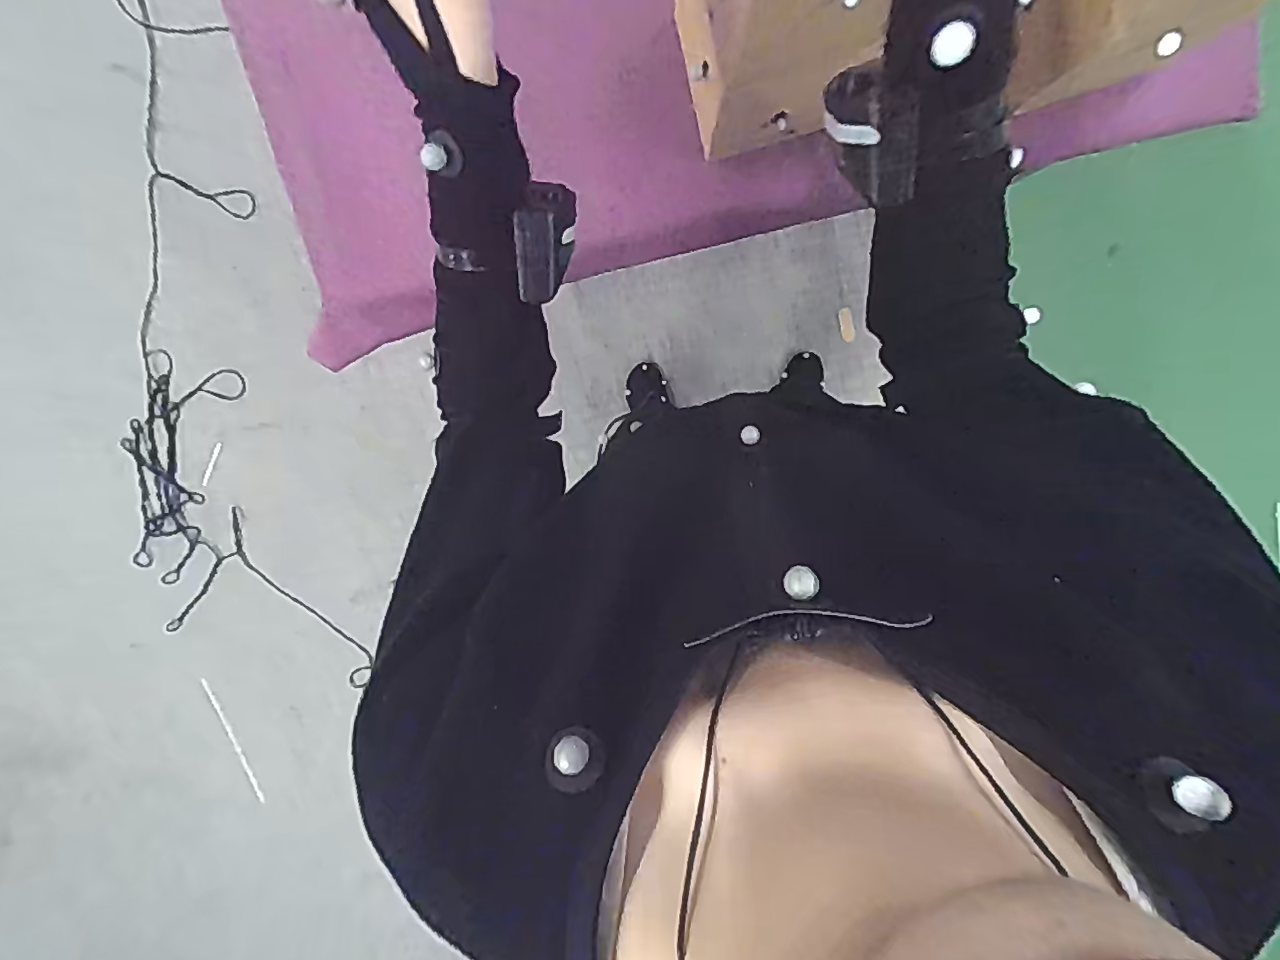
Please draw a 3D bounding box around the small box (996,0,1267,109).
[{"bbox_3d":[0.516,-0.536,0.568,0.179,0.176,0.168,-15,101,7],"label":"small box"}]

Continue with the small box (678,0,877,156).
[{"bbox_3d":[0.140,-0.489,0.597,0.168,0.176,0.179,-14,99,5],"label":"small box"}]

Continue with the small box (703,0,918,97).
[{"bbox_3d":[0.137,-0.454,0.437,0.179,0.176,0.168,-14,100,6],"label":"small box"}]
